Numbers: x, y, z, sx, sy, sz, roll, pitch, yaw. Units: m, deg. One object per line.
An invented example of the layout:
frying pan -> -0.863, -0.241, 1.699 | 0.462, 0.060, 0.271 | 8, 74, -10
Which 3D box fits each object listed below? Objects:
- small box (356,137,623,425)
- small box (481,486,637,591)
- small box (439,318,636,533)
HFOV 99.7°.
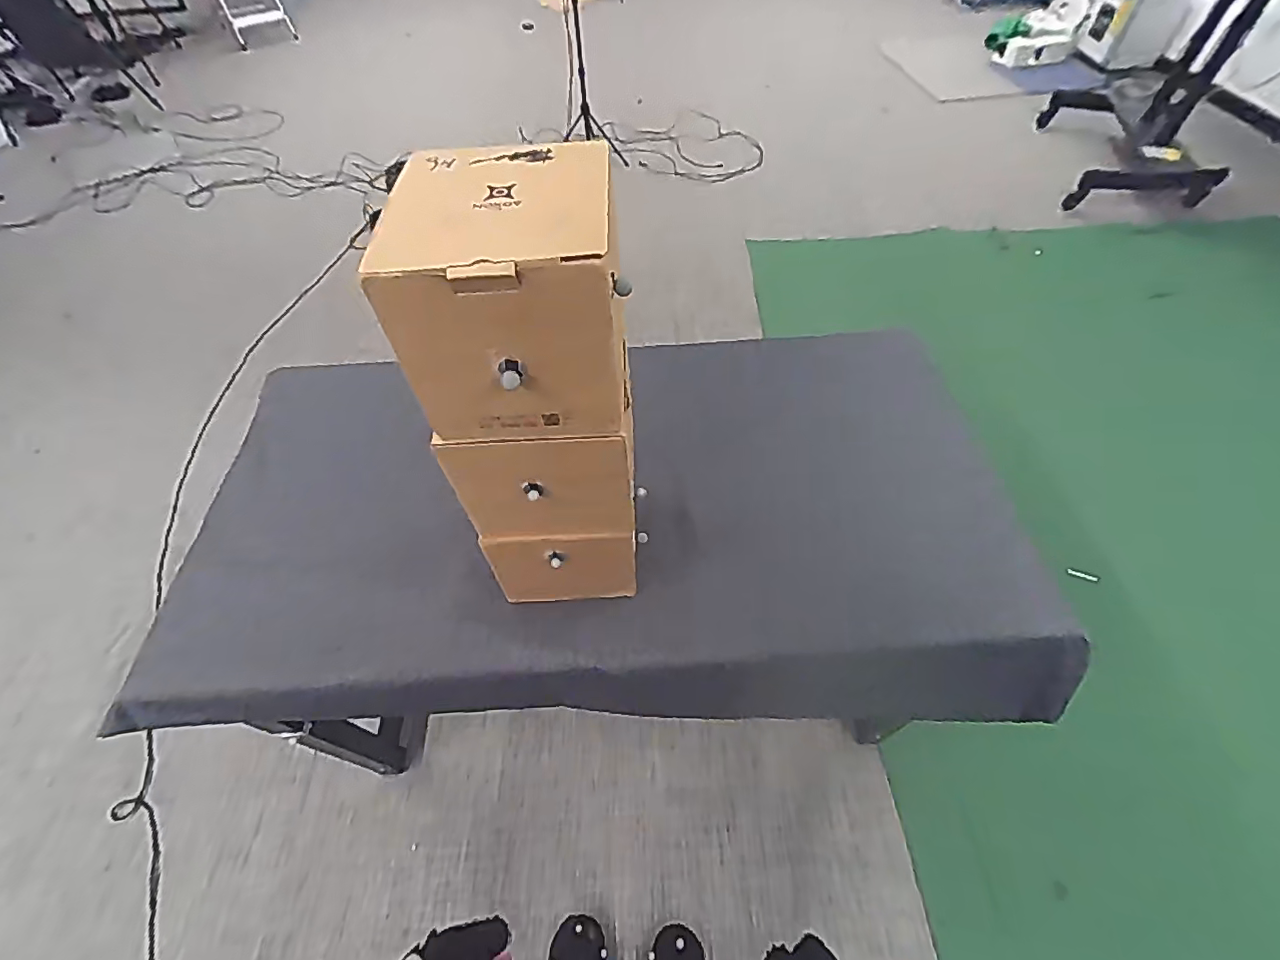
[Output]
small box -> -0.102, -0.159, 0.462 | 0.168, 0.176, 0.179 | -2, 55, 1
small box -> -0.095, 0.040, 0.722 | 0.179, 0.176, 0.168 | -2, 55, -1
small box -> -0.096, -0.056, 0.589 | 0.179, 0.176, 0.168 | -4, 55, -2
